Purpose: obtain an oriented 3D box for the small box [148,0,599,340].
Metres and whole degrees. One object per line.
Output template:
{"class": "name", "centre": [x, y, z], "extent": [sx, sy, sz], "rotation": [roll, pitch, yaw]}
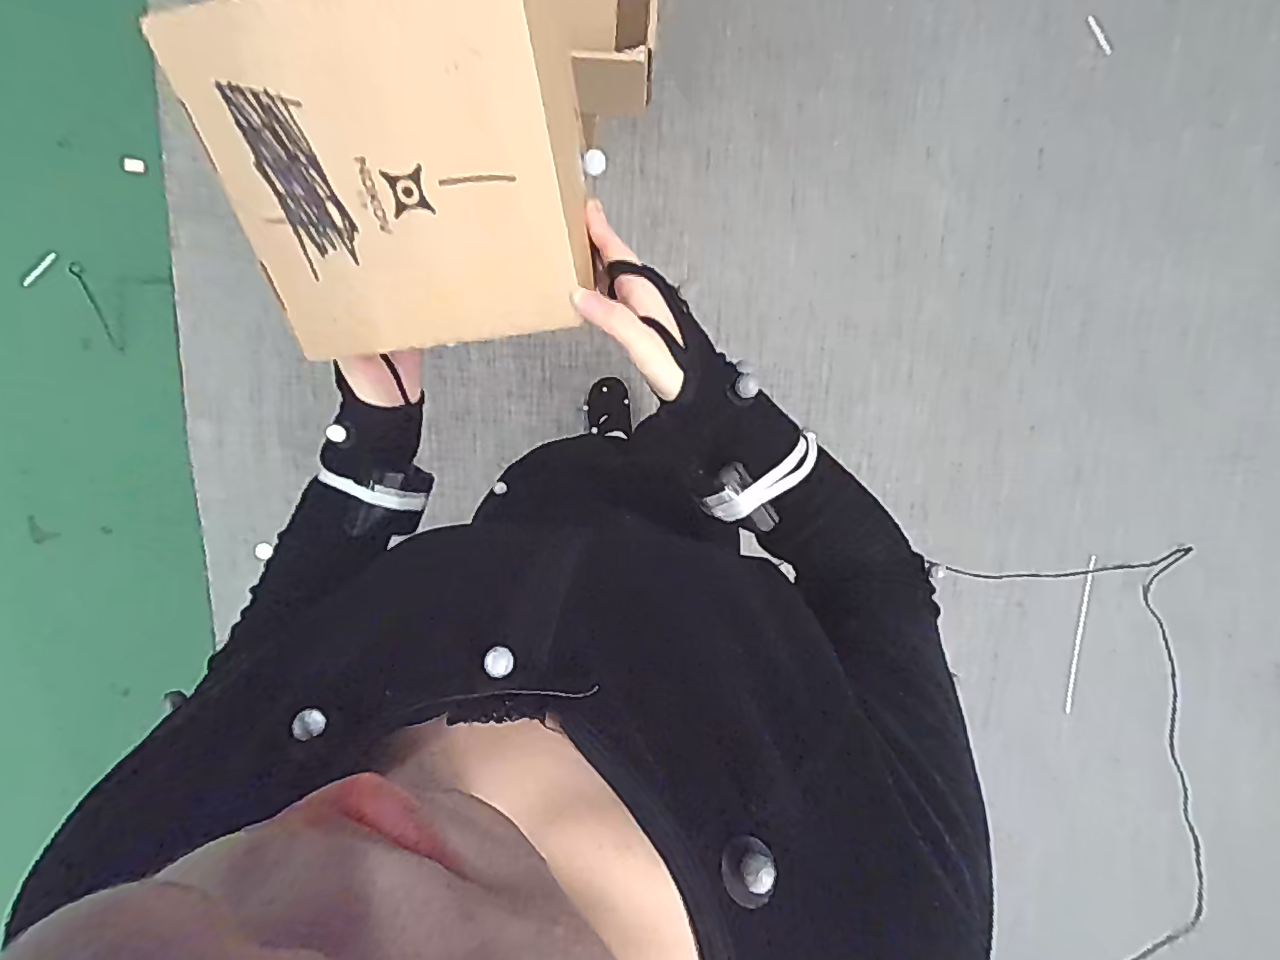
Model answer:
{"class": "small box", "centre": [-0.129, -0.203, 0.348], "extent": [0.179, 0.176, 0.168], "rotation": [-6, 123, 4]}
